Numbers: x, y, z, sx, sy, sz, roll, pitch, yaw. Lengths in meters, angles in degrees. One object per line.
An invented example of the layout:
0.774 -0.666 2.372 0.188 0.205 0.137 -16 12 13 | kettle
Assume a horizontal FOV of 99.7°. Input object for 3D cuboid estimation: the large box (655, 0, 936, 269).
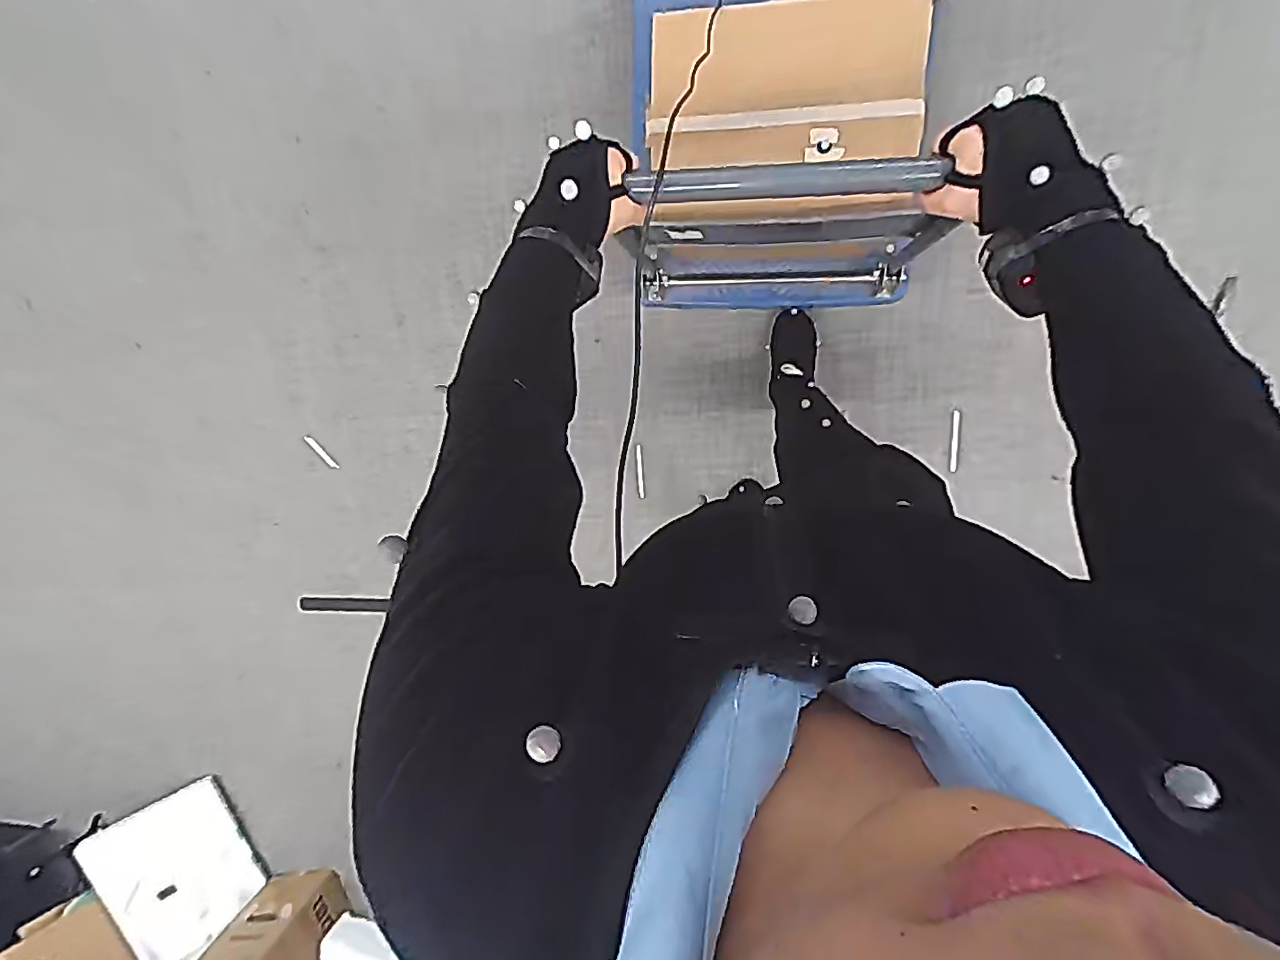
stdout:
0.244 -0.570 0.963 0.408 0.320 0.320 2 104 10 | large box
